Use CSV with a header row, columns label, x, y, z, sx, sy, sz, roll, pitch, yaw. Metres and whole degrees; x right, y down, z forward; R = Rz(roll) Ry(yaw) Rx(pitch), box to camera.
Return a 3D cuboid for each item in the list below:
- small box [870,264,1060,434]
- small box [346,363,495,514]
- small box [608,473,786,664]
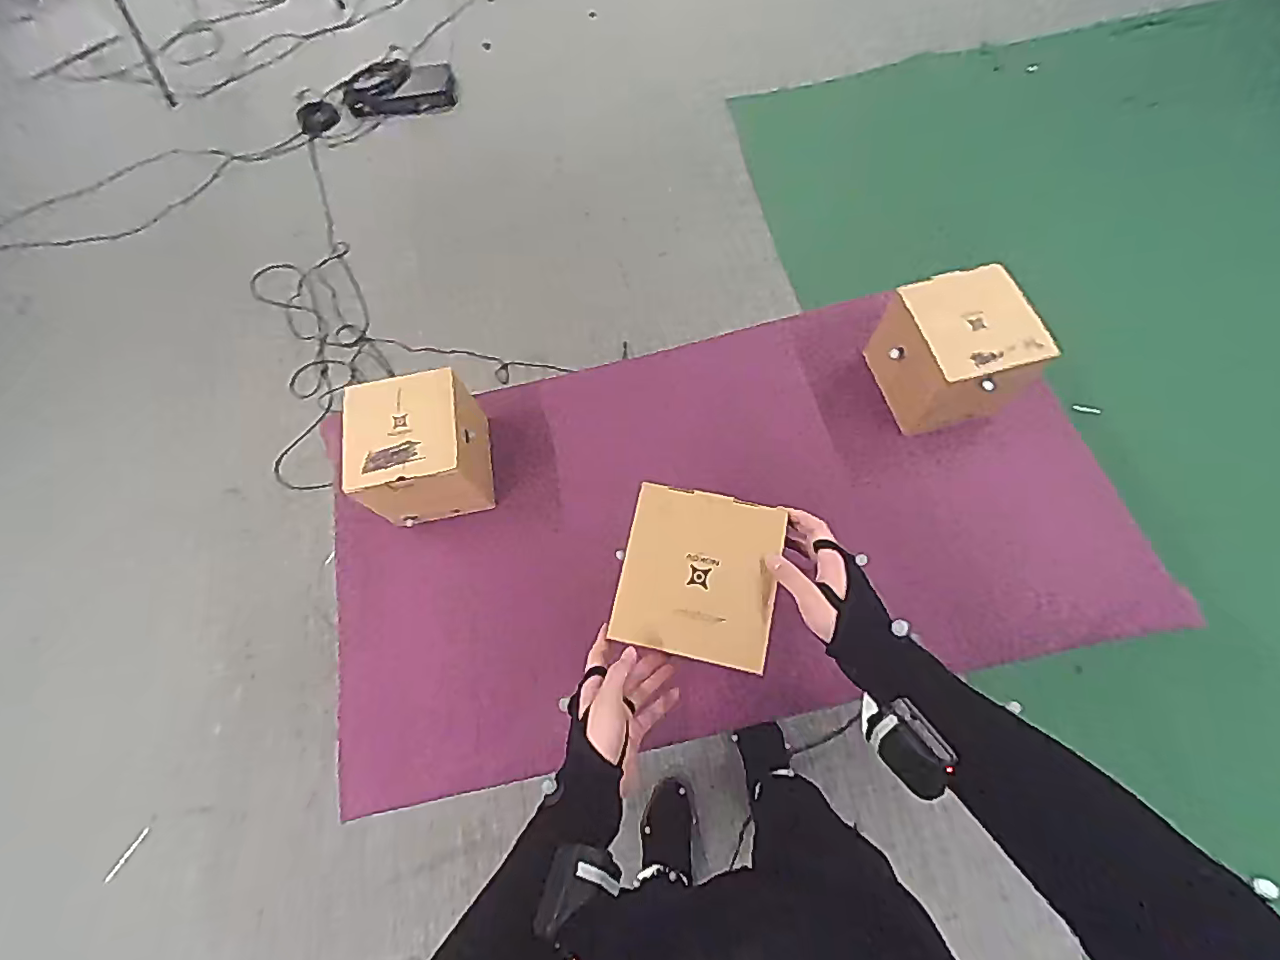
label,x,y,z,sx,sy,sz,roll,pitch,yaw
small box,0.490,-0.199,0.851,0.168,0.176,0.179,-14,67,0
small box,-0.338,-0.054,0.856,0.168,0.176,0.179,-11,68,-1
small box,0.067,0.110,0.656,0.168,0.176,0.179,12,77,7
